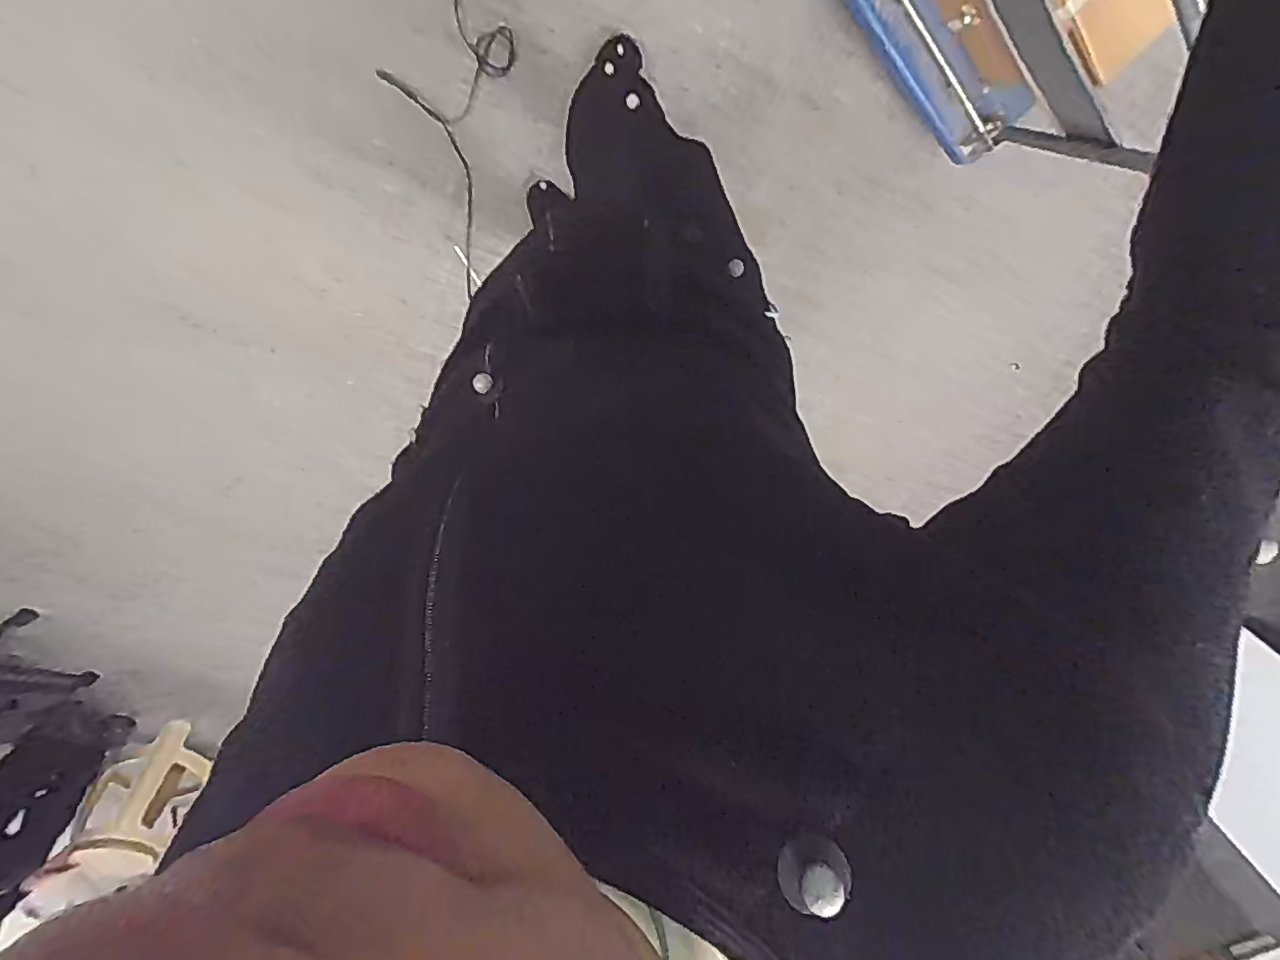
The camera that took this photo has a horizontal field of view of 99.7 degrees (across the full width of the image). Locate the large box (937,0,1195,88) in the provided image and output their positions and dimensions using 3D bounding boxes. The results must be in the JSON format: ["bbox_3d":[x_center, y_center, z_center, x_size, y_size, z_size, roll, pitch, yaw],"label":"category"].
[{"bbox_3d":[0.761,-0.934,0.868,0.320,0.320,0.408,32,115,-27],"label":"large box"}]
